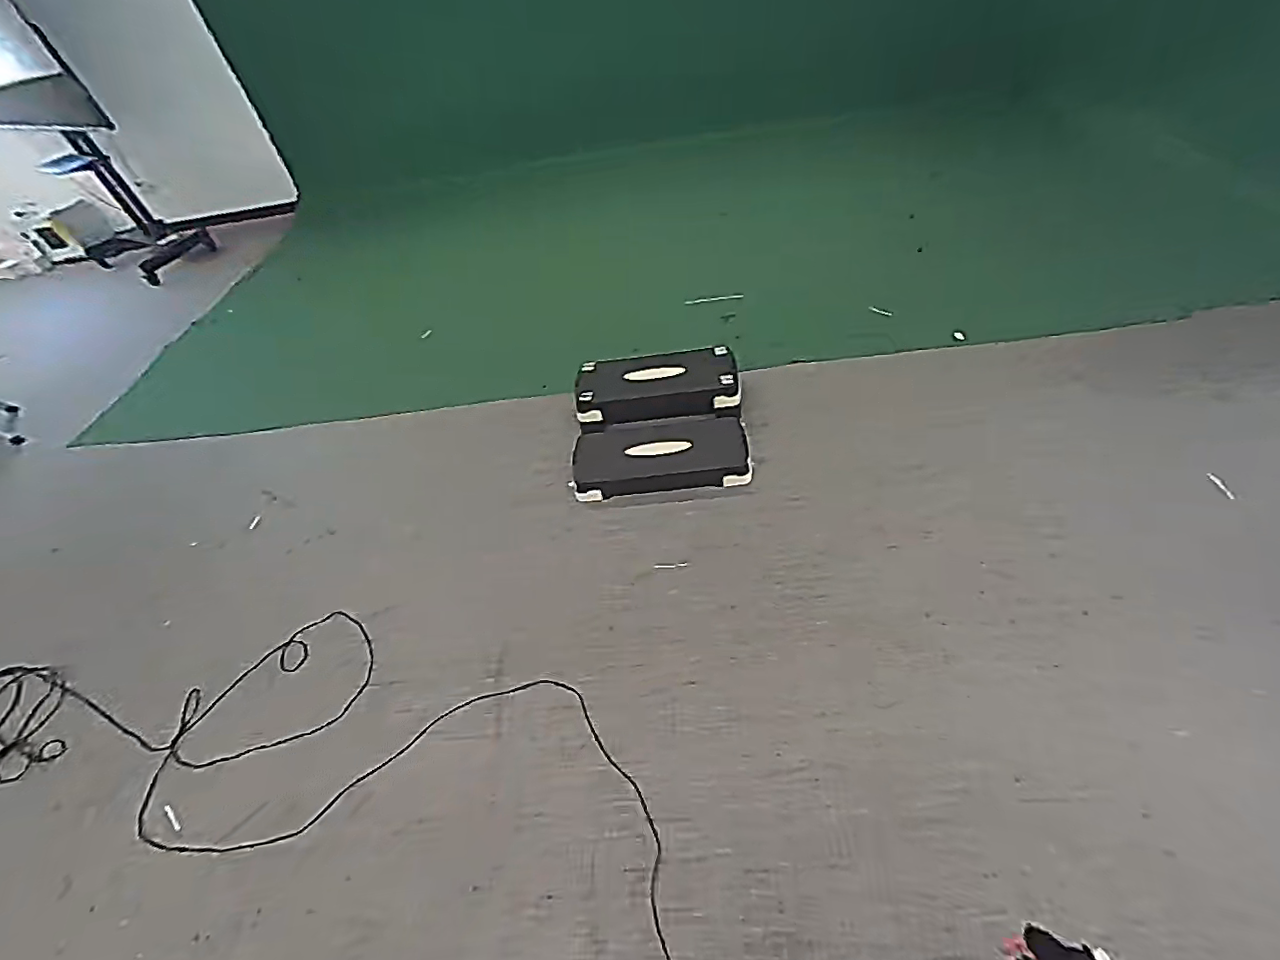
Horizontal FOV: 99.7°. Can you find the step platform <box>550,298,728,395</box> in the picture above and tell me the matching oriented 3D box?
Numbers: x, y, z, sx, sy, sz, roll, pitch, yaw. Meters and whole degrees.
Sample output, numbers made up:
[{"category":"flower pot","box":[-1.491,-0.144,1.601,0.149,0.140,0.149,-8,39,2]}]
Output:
[{"category":"step platform","box":[0.002,-0.525,2.133,0.684,0.204,0.286,-6,47,6]}]
